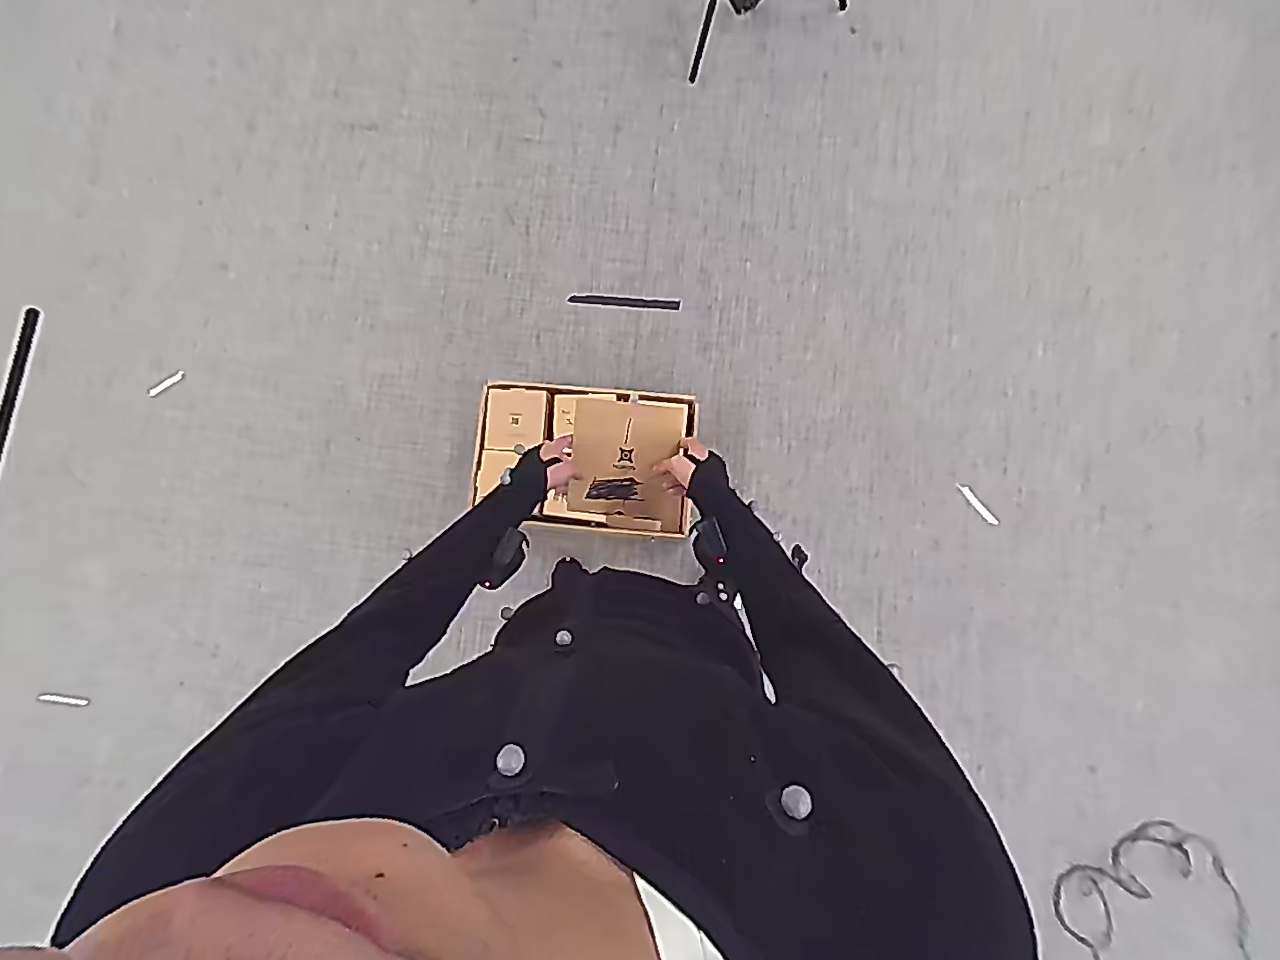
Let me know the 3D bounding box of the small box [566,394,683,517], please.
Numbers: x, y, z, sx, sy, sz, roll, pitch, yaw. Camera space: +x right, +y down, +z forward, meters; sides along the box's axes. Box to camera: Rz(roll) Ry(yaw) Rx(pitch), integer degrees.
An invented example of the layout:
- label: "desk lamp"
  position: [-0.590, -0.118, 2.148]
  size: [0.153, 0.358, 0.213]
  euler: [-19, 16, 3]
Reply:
- label: "small box"
  position: [-0.025, -0.048, 0.903]
  size: [0.168, 0.176, 0.179]
  euler: [6, 98, -2]
